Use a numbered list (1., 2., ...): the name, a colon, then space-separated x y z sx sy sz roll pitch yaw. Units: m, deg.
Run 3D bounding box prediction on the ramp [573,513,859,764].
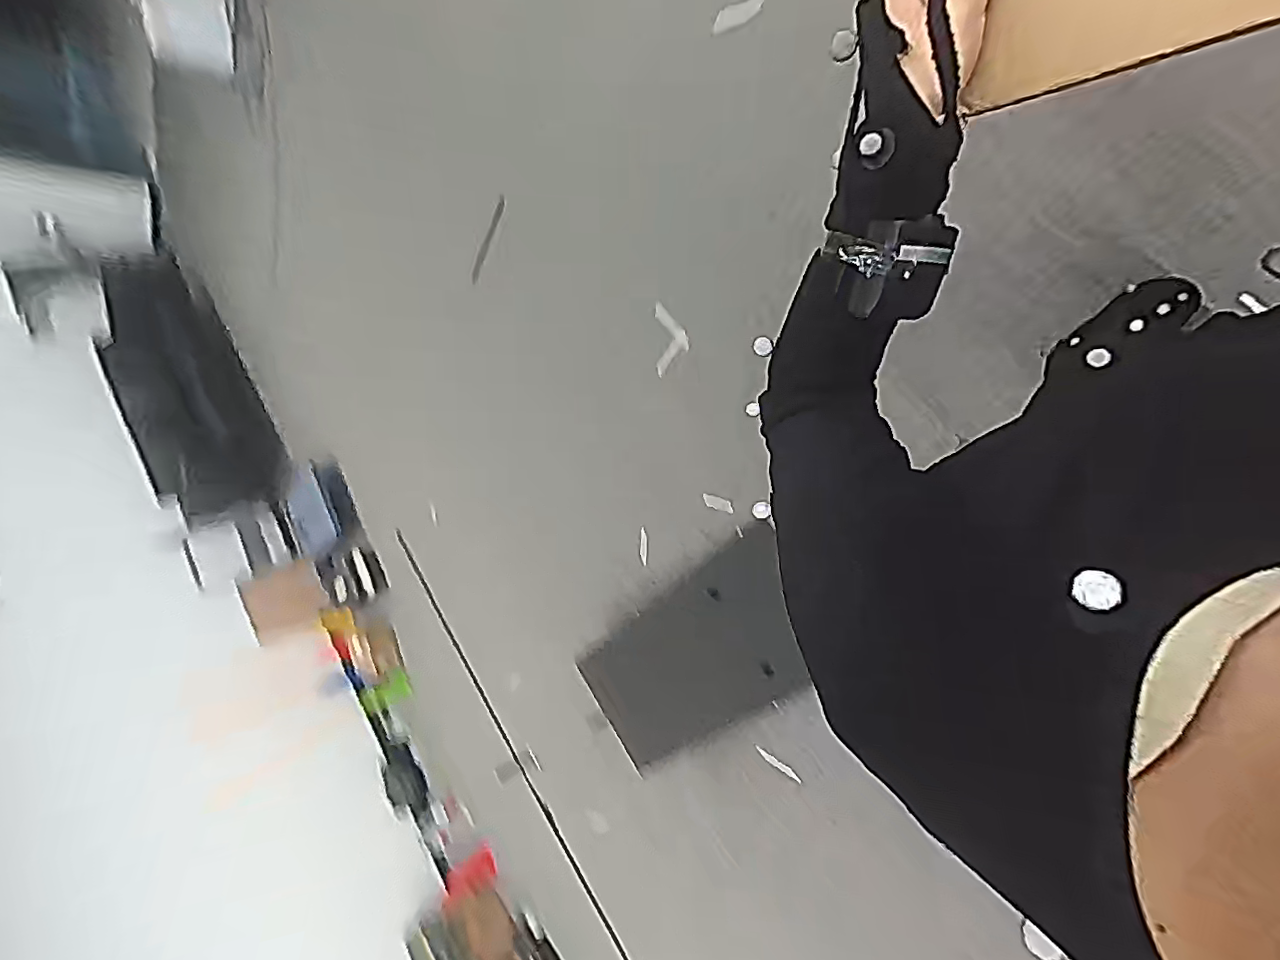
1. ramp: 0.179 0.573 1.834 0.509 0.206 0.991 56 131 17
